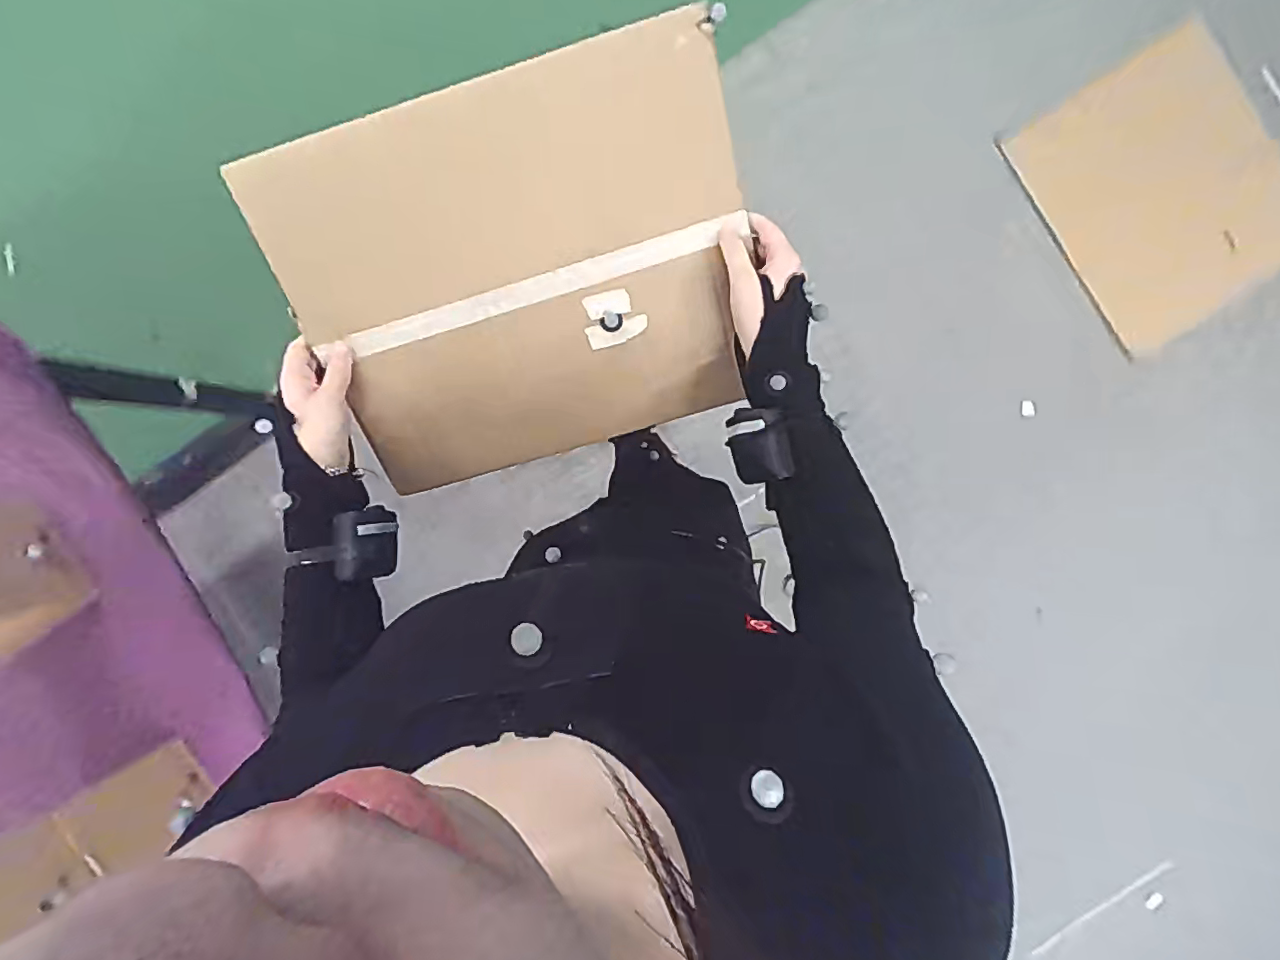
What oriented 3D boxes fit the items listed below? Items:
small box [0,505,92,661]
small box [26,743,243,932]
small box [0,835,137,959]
[{"bbox_3d":[-0.879,0.148,0.682,0.179,0.176,0.168,-35,92,1],"label":"small box"},{"bbox_3d":[-0.677,0.487,0.696,0.179,0.176,0.168,-37,93,2],"label":"small box"},{"bbox_3d":[-0.677,0.496,0.532,0.168,0.176,0.179,-37,91,3],"label":"small box"}]
